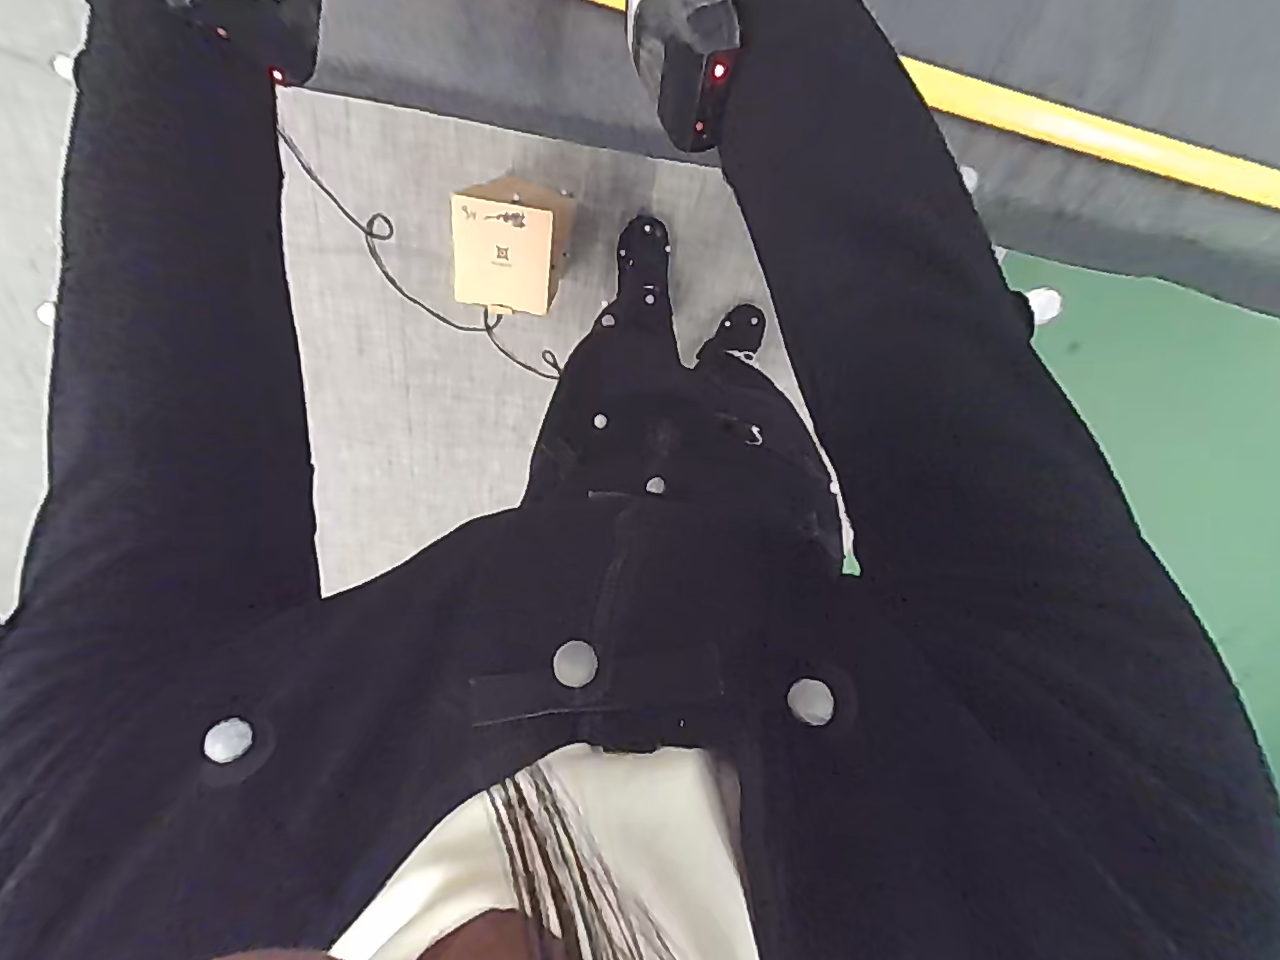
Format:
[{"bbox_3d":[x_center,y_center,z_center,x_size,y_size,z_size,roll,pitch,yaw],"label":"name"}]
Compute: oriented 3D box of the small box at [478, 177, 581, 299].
[{"bbox_3d":[-0.225,-0.509,1.126,0.168,0.176,0.179,16,123,-10],"label":"small box"}]
